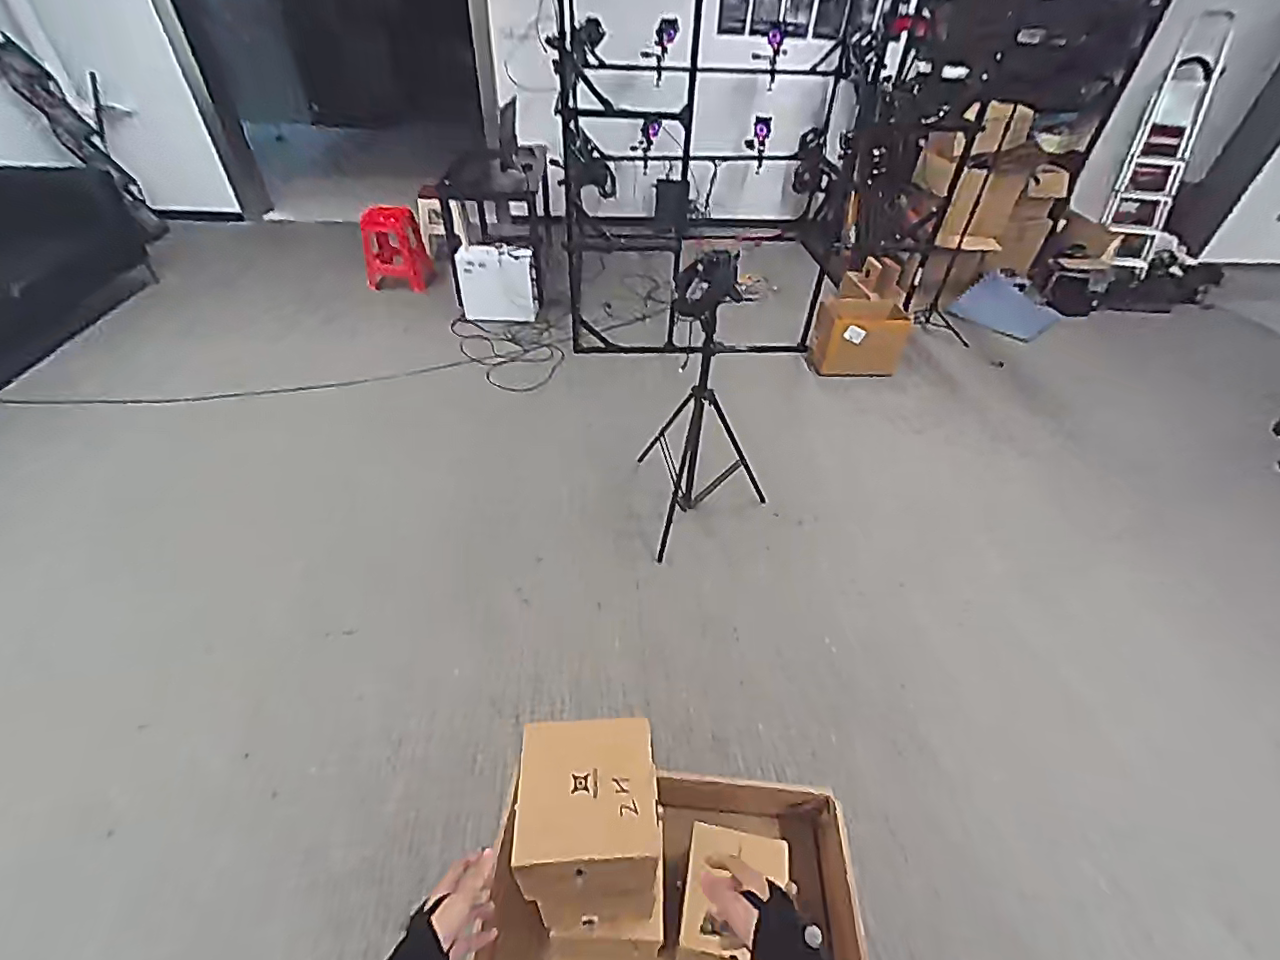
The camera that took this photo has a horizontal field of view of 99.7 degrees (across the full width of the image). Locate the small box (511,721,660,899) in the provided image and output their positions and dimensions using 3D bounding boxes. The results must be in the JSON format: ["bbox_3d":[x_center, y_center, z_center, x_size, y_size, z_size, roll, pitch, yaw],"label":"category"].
[{"bbox_3d":[-0.067,0.448,0.734,0.179,0.176,0.168,0,42,-4],"label":"small box"}]

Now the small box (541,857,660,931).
[{"bbox_3d":[-0.062,0.570,0.843,0.168,0.176,0.179,-1,41,-4],"label":"small box"}]
